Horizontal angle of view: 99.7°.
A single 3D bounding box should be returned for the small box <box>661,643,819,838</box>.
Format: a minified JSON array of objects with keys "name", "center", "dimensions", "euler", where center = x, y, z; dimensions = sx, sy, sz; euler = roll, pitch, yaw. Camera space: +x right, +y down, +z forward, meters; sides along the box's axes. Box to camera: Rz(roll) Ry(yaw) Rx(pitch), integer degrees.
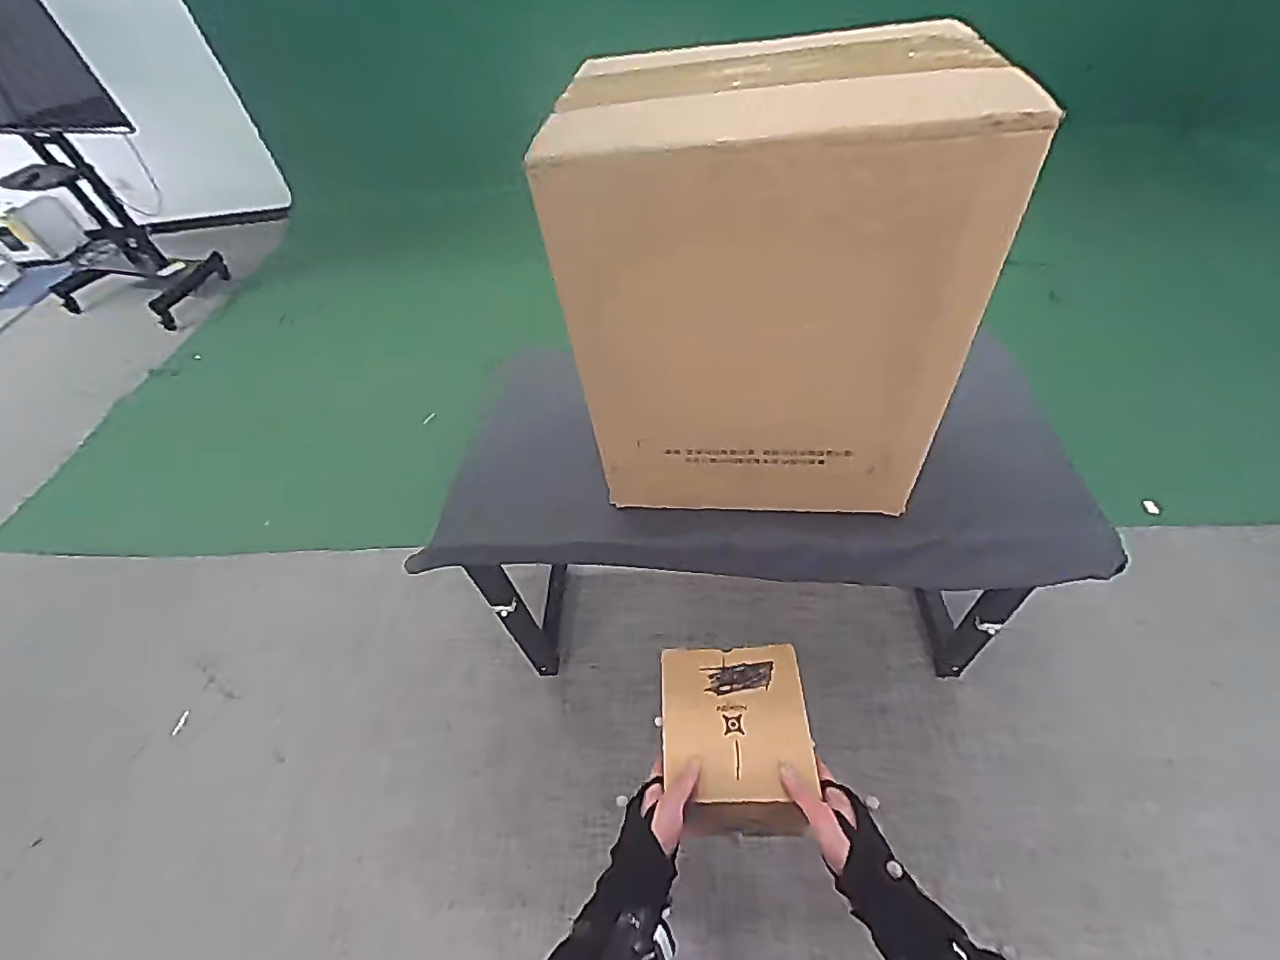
[{"name":"small box","center":[0.116,0.322,0.673],"dimensions":[0.168,0.176,0.179],"euler":[-2,47,7]}]
